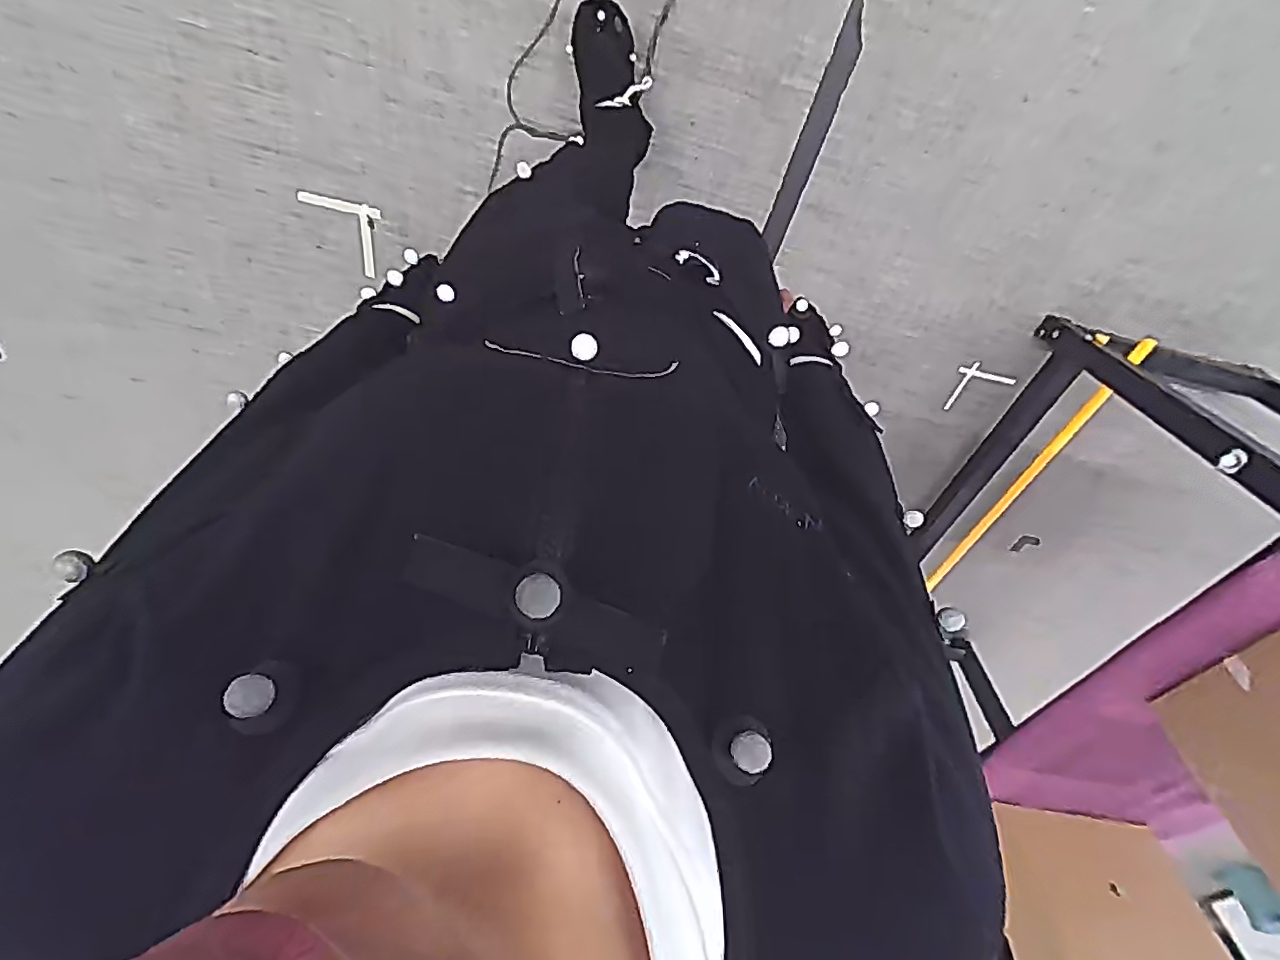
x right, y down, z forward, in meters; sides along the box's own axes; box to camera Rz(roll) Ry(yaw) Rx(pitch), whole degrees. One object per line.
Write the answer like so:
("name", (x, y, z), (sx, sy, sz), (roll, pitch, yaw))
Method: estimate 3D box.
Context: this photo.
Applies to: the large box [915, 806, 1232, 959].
("large box", (0.893, 0.934, 1.146), (0.408, 0.320, 0.320), (12, 128, -8))
